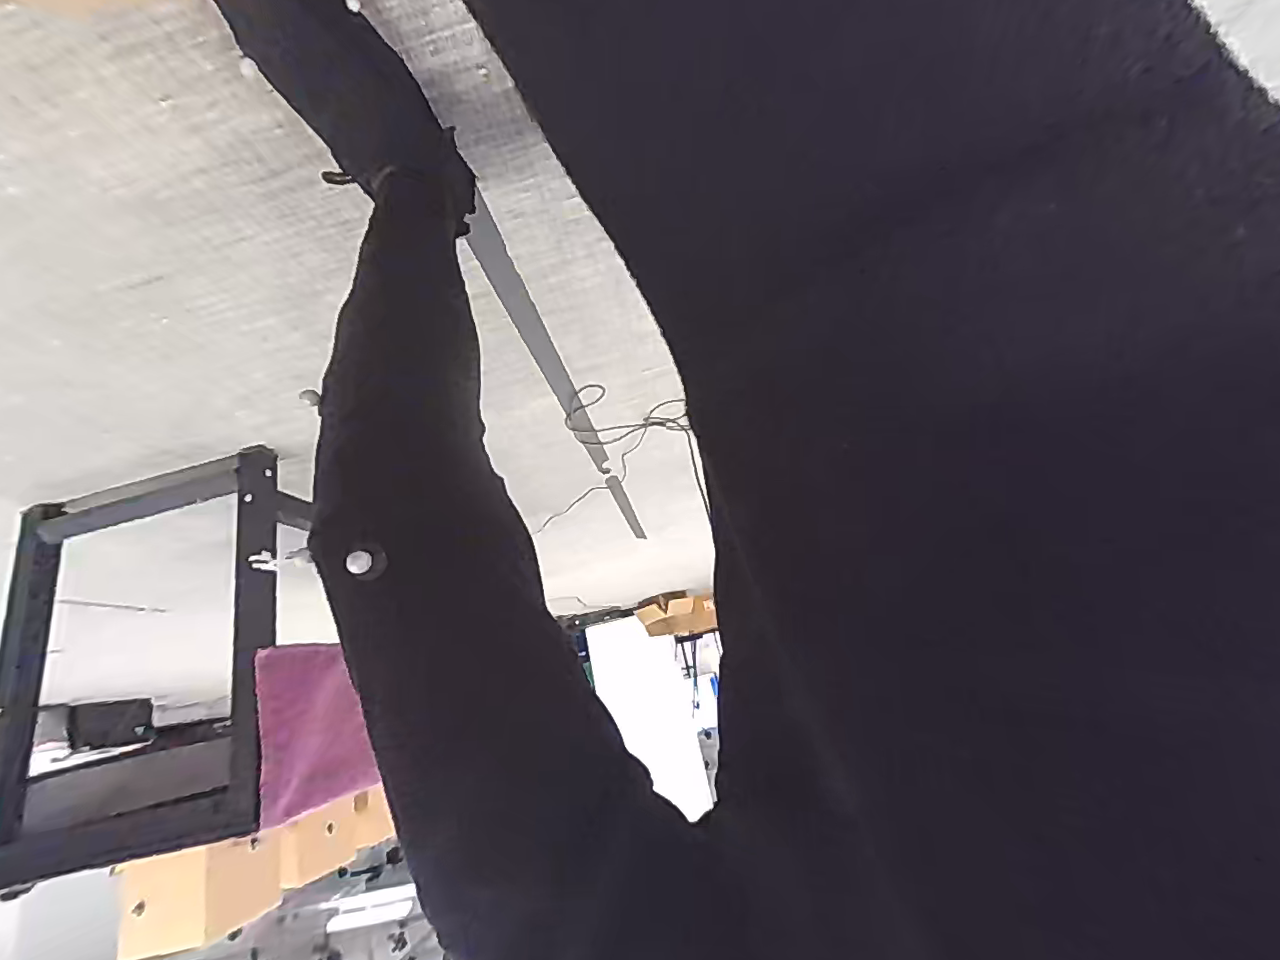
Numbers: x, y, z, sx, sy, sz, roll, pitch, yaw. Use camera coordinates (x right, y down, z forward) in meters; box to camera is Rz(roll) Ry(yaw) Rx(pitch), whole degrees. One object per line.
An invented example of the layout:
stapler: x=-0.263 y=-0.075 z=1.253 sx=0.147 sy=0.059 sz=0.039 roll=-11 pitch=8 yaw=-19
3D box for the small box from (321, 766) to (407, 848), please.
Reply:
small box: x=-0.788 y=0.927 z=1.529 sx=0.179 sy=0.176 sz=0.168 roll=-16 pitch=161 yaw=6

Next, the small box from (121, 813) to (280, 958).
small box: x=-0.823 y=0.758 z=1.031 sx=0.179 sy=0.176 sz=0.168 roll=-15 pitch=162 yaw=7

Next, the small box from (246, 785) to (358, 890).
small box: x=-0.810 y=0.847 z=1.288 sx=0.179 sy=0.176 sz=0.168 roll=-17 pitch=160 yaw=12
